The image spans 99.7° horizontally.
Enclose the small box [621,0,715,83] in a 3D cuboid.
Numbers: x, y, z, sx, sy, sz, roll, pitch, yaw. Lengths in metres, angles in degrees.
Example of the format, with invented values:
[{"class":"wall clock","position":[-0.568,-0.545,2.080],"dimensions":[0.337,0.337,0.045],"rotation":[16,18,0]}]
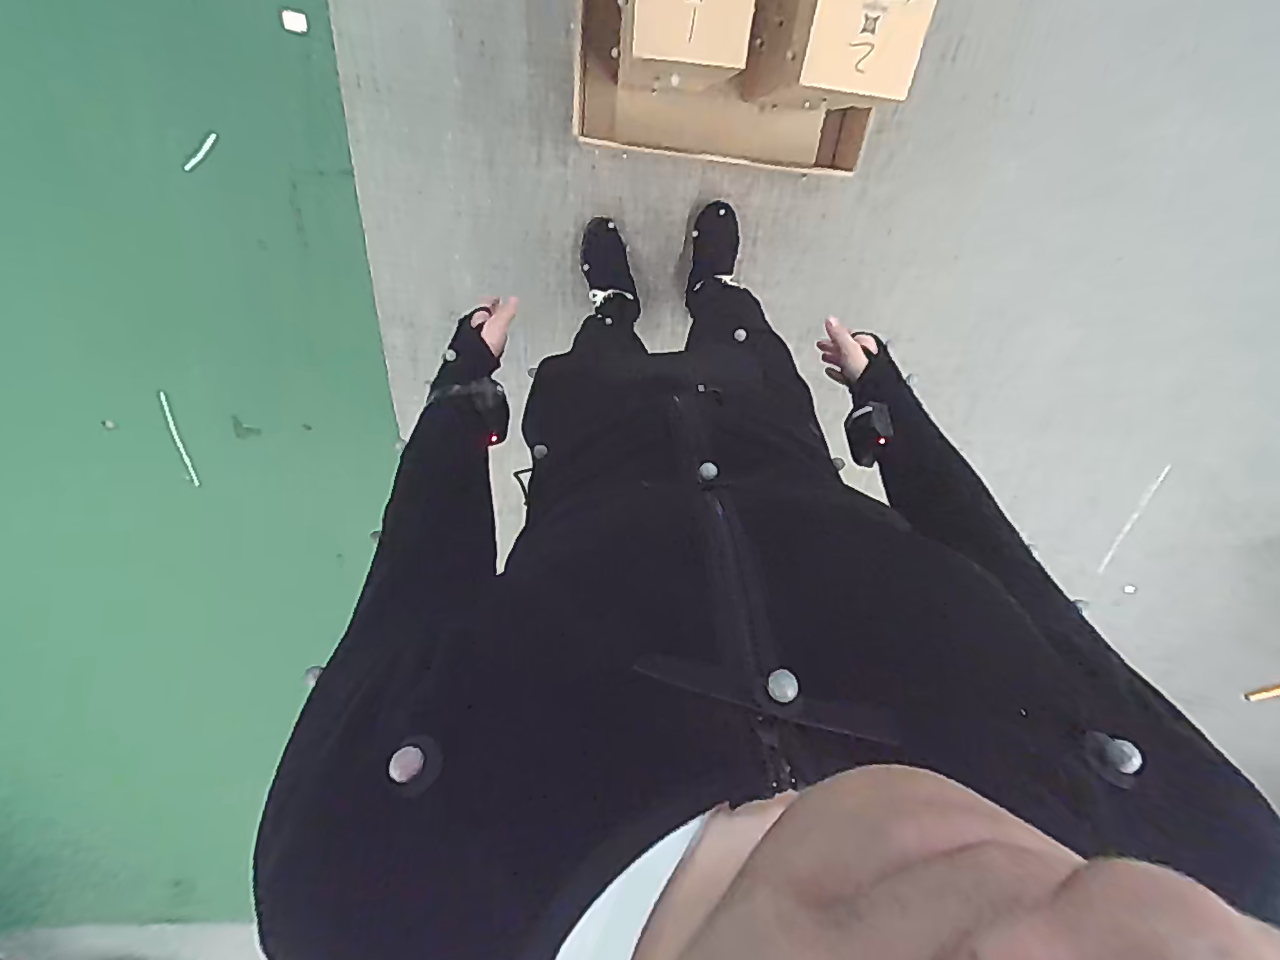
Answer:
[{"class":"small box","position":[0.054,-0.797,0.922],"dimensions":[0.168,0.176,0.179],"rotation":[2,121,-5]}]

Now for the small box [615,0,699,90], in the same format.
[{"class":"small box","position":[0.041,-0.883,1.059],"dimensions":[0.168,0.176,0.179],"rotation":[3,121,-6]}]

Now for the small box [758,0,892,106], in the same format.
[{"class":"small box","position":[0.315,-0.779,0.948],"dimensions":[0.168,0.176,0.179],"rotation":[5,121,-4]}]

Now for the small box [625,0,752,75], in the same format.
[{"class":"small box","position":[0.068,-0.712,0.782],"dimensions":[0.168,0.176,0.179],"rotation":[3,122,-5]}]
